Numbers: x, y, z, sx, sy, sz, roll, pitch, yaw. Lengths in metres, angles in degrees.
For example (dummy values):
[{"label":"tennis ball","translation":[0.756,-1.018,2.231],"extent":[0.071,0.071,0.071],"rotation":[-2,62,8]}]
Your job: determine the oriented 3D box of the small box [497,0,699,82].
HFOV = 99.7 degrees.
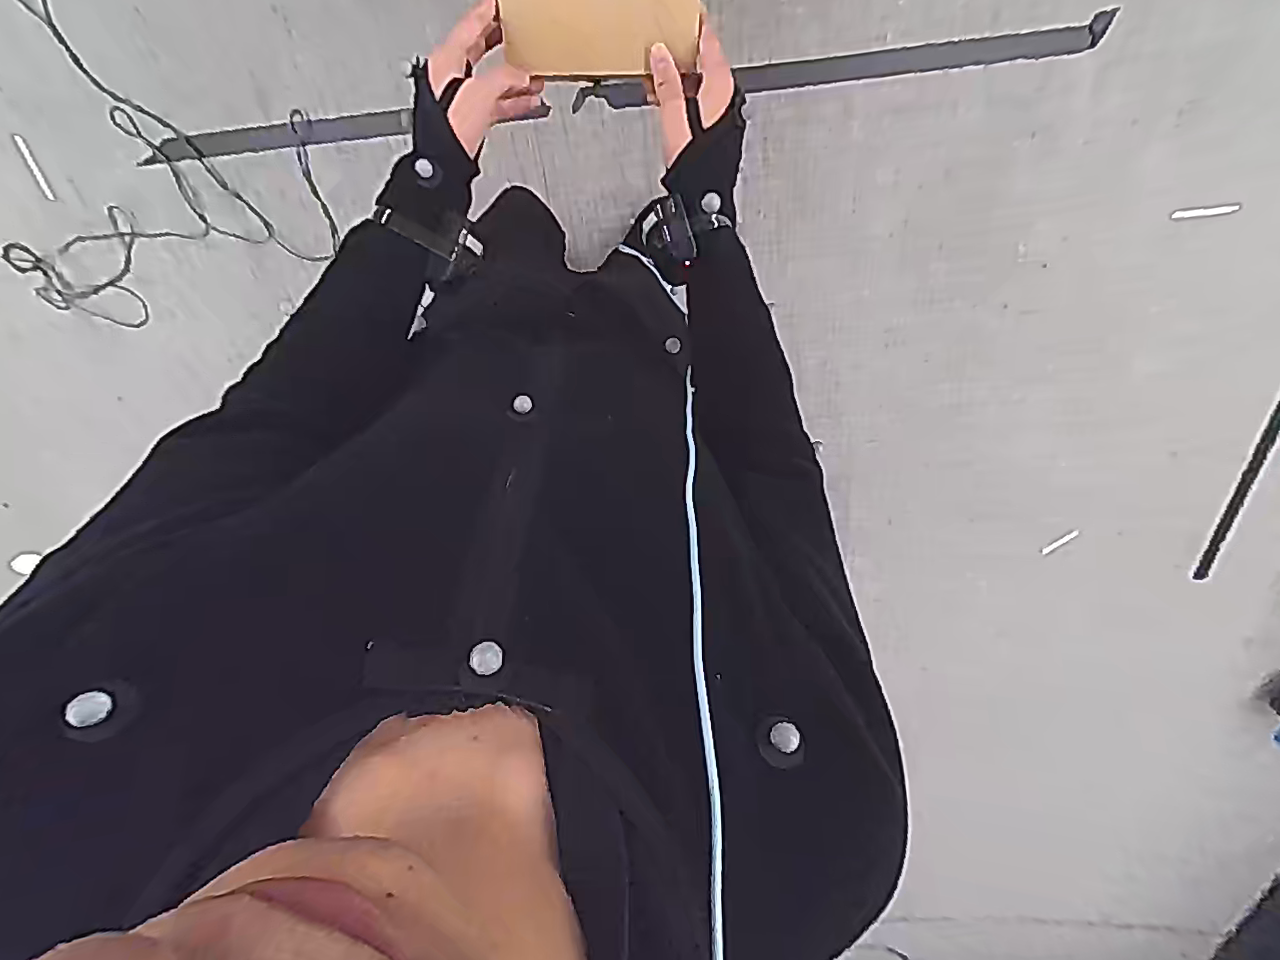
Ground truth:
[{"label":"small box","translation":[-0.035,-0.460,0.475],"extent":[0.168,0.176,0.179],"rotation":[-2,125,-2]}]
